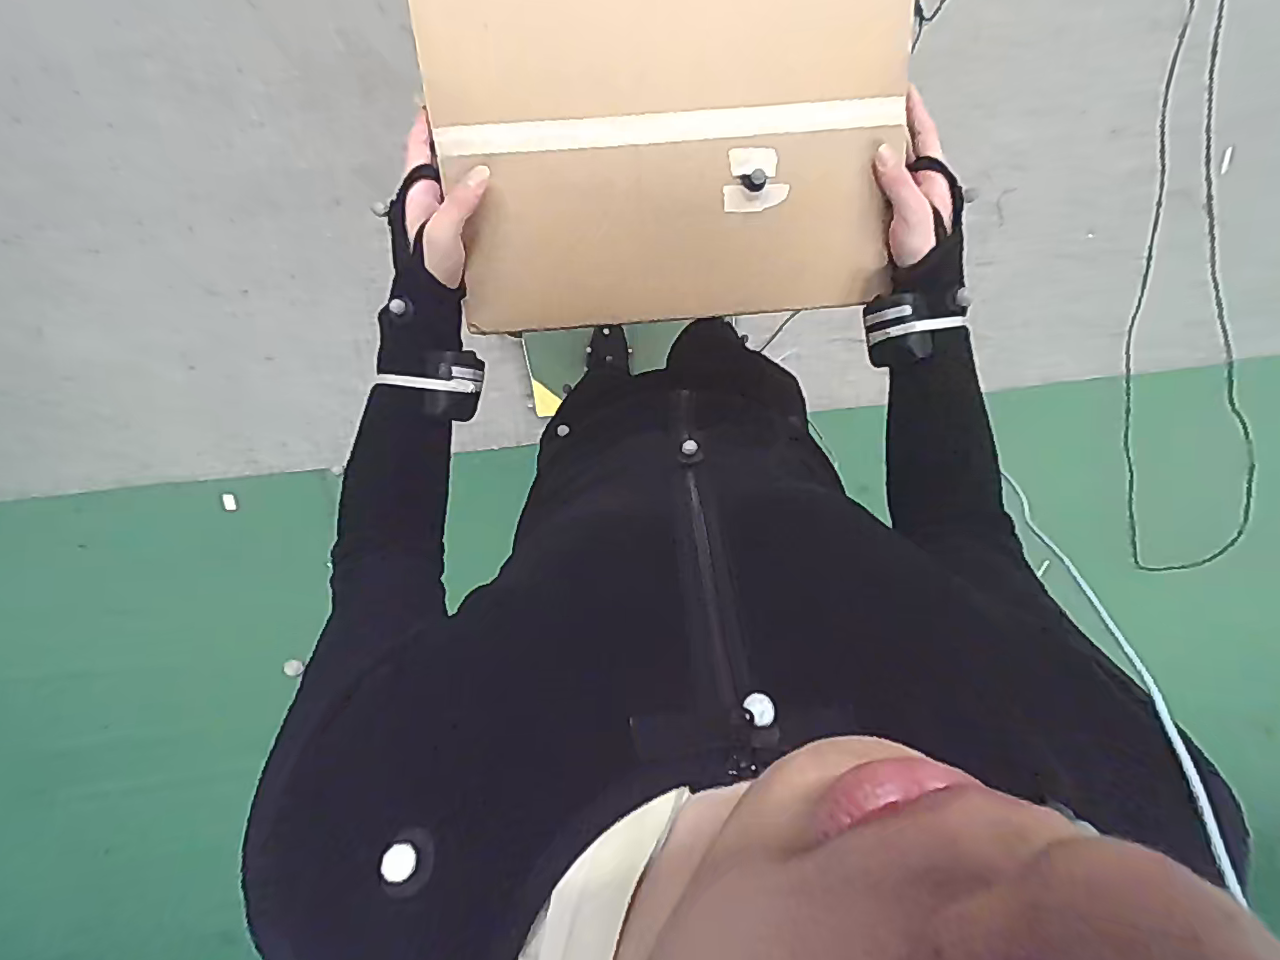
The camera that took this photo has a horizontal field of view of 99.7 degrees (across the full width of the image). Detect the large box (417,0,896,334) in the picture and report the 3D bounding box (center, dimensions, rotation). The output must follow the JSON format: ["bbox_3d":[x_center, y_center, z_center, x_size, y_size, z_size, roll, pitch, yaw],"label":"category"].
[{"bbox_3d":[0.013,-0.349,0.616,0.408,0.320,0.320,-6,109,-4],"label":"large box"}]
